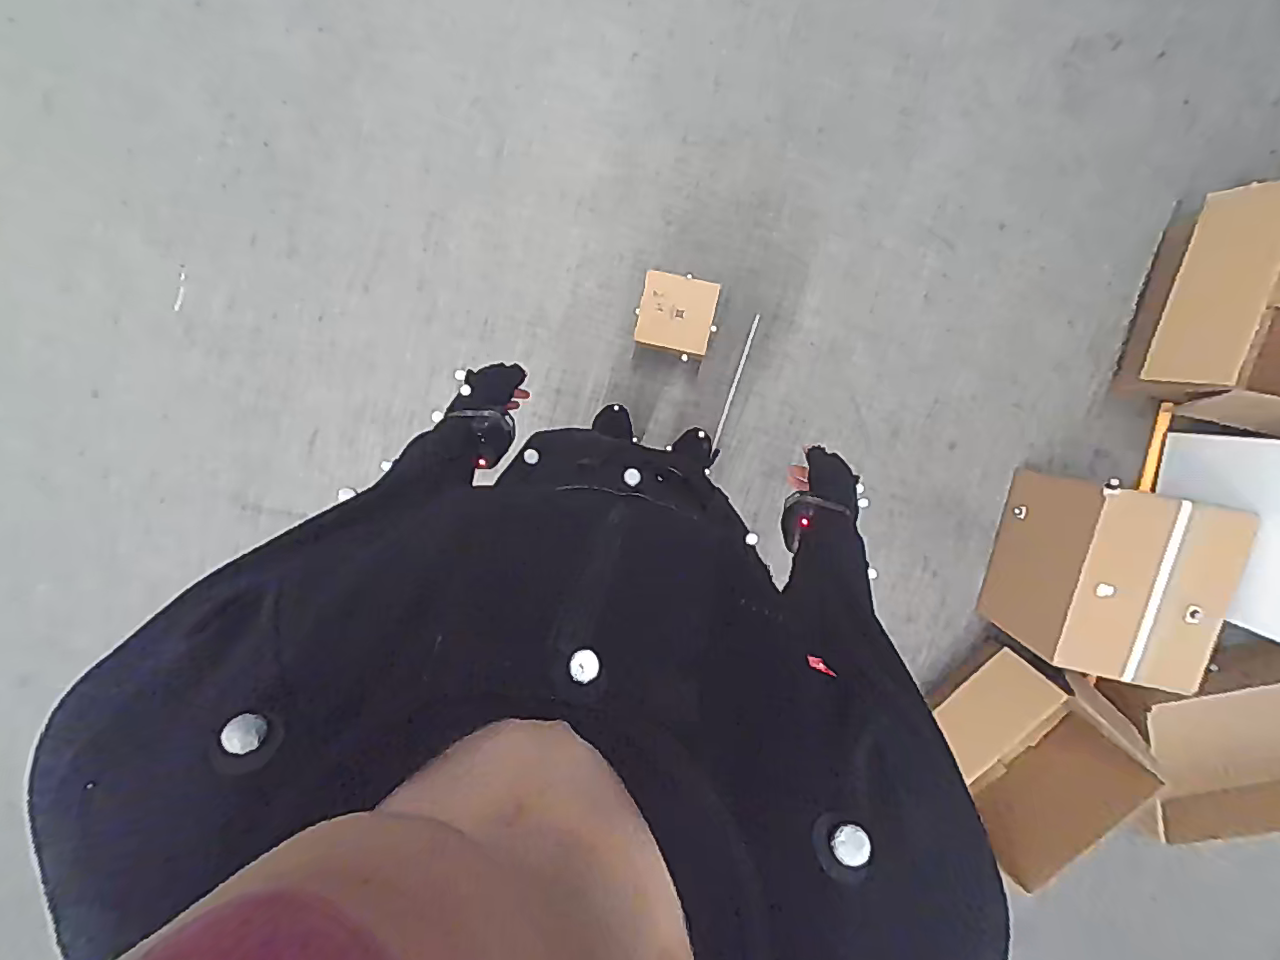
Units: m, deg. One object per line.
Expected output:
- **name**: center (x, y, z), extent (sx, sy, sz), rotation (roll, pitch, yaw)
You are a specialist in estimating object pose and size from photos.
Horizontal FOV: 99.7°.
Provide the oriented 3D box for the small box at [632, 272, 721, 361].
- **small box**: center (0.087, -0.393, 1.327), extent (0.179, 0.176, 0.168), rotation (13, 98, 1)
